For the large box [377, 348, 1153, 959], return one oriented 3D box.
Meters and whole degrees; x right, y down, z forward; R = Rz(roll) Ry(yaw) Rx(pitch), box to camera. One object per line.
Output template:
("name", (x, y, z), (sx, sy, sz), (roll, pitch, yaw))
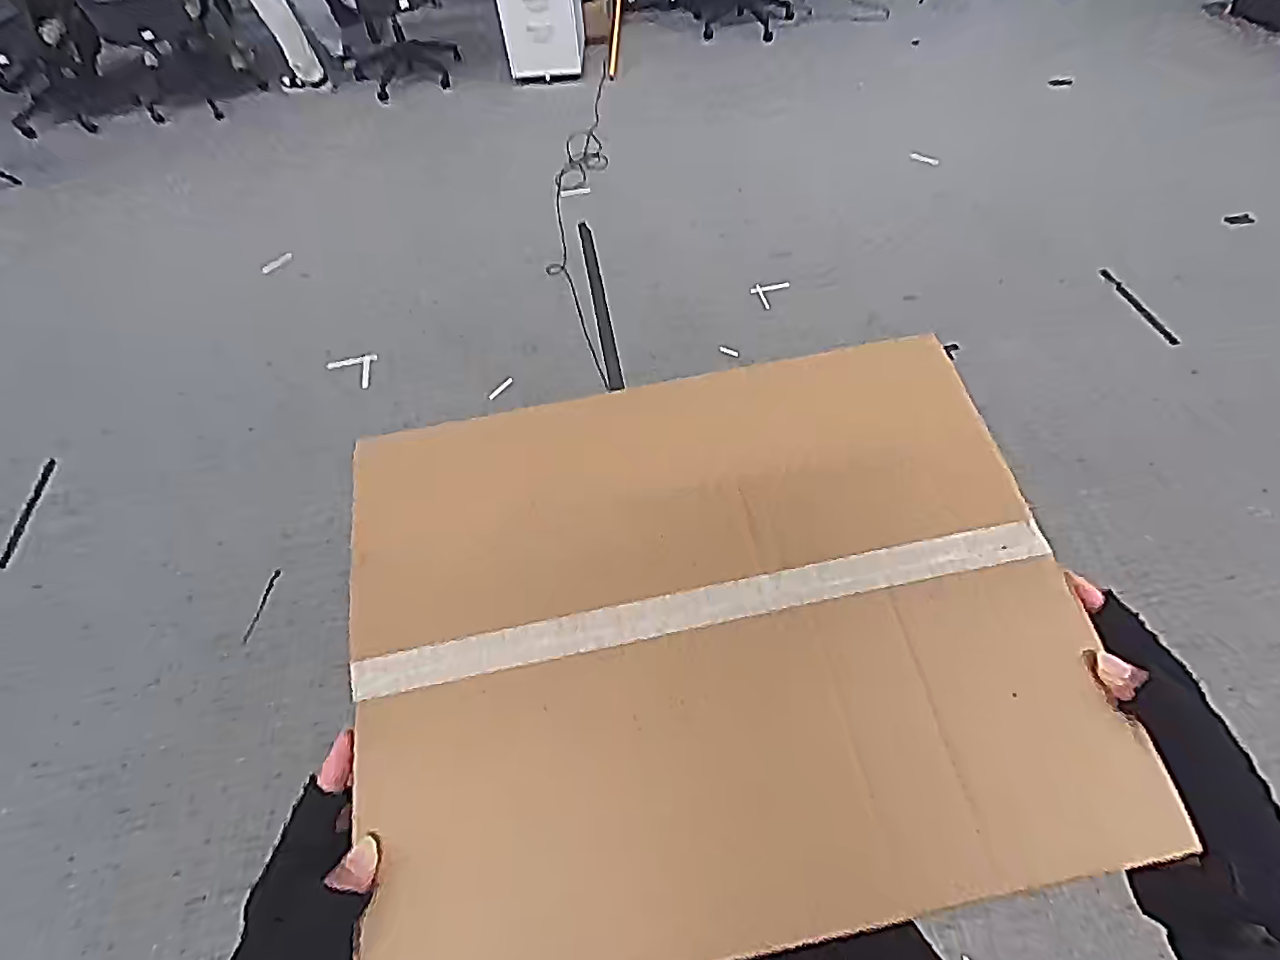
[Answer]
("large box", (0.045, 0.140, 0.461), (0.408, 0.320, 0.320), (-12, 67, -3))
